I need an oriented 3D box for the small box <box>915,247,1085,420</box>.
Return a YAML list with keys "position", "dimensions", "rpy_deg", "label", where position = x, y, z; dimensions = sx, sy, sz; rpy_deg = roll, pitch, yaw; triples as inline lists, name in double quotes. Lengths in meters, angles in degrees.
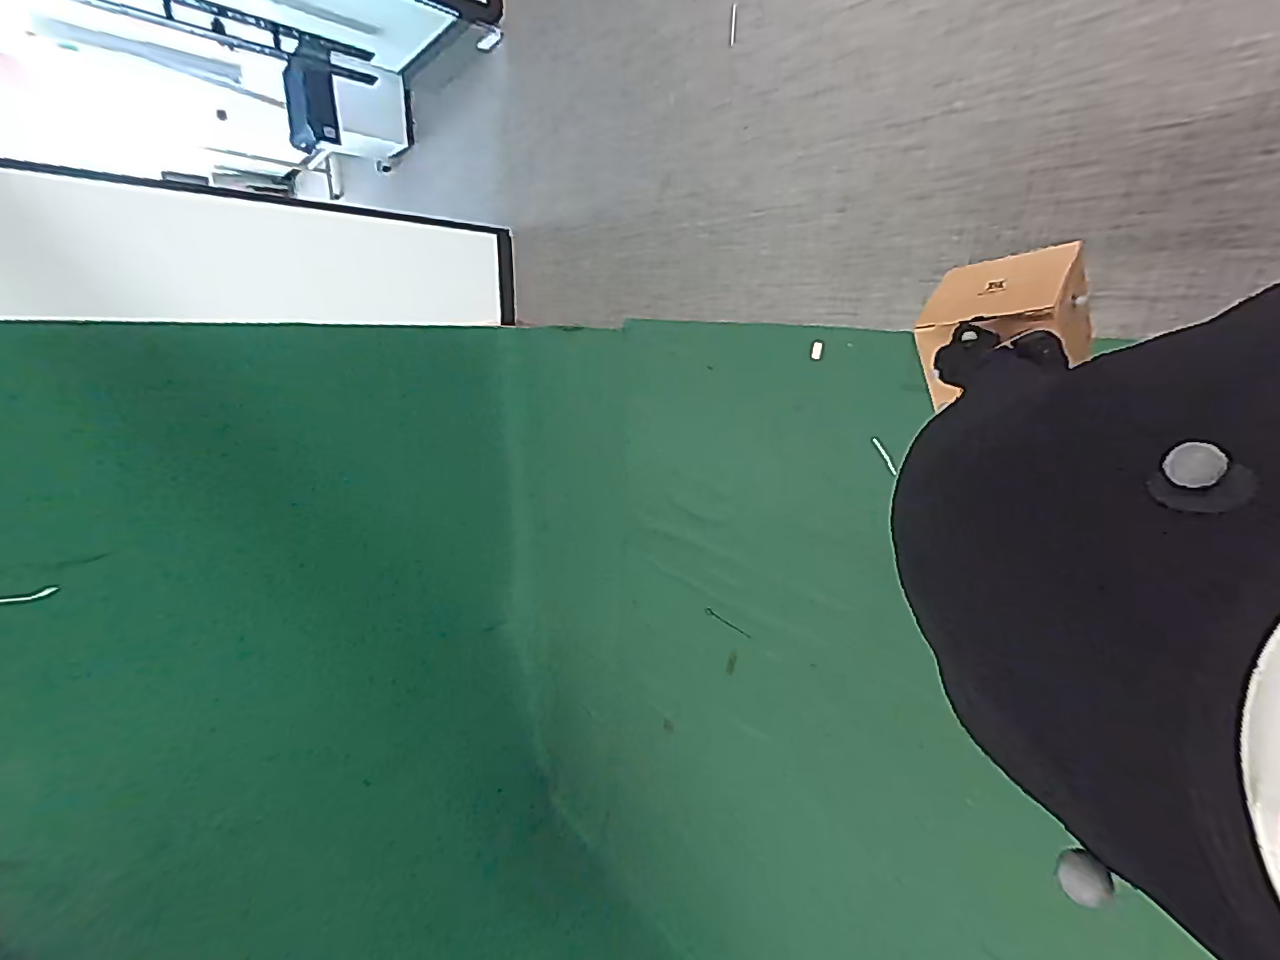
- position: [0.534, -0.205, 0.794]
  dimensions: [0.168, 0.179, 0.176]
  rpy_deg: [4, 135, 48]
  label: "small box"
